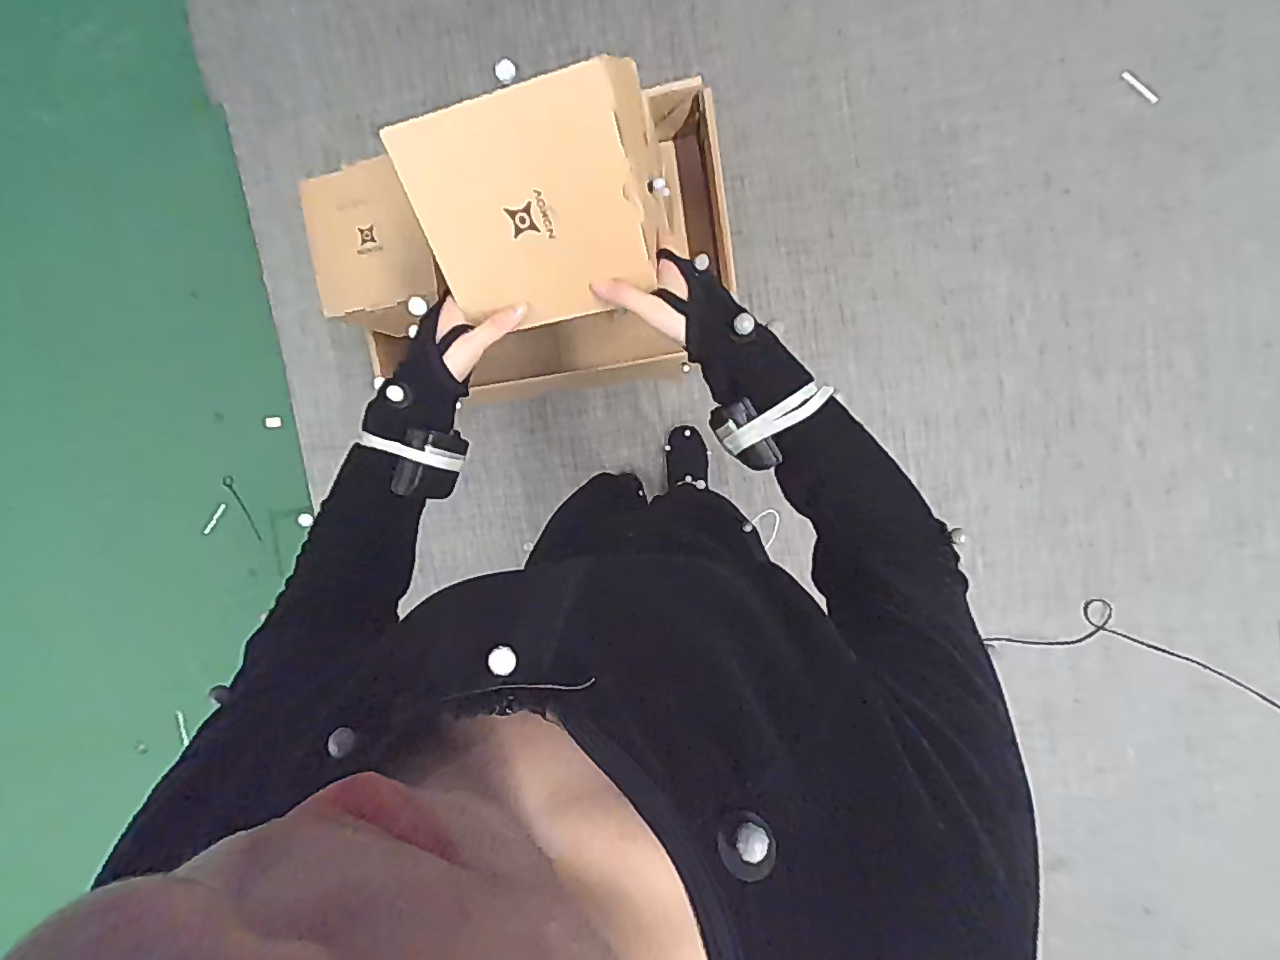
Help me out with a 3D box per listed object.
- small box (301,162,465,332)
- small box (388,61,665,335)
[{"bbox_3d":[-0.335,-0.314,0.769,0.168,0.176,0.179,-7,95,8],"label":"small box"},{"bbox_3d":[-0.079,-0.252,0.489,0.179,0.176,0.168,-9,125,11],"label":"small box"}]
